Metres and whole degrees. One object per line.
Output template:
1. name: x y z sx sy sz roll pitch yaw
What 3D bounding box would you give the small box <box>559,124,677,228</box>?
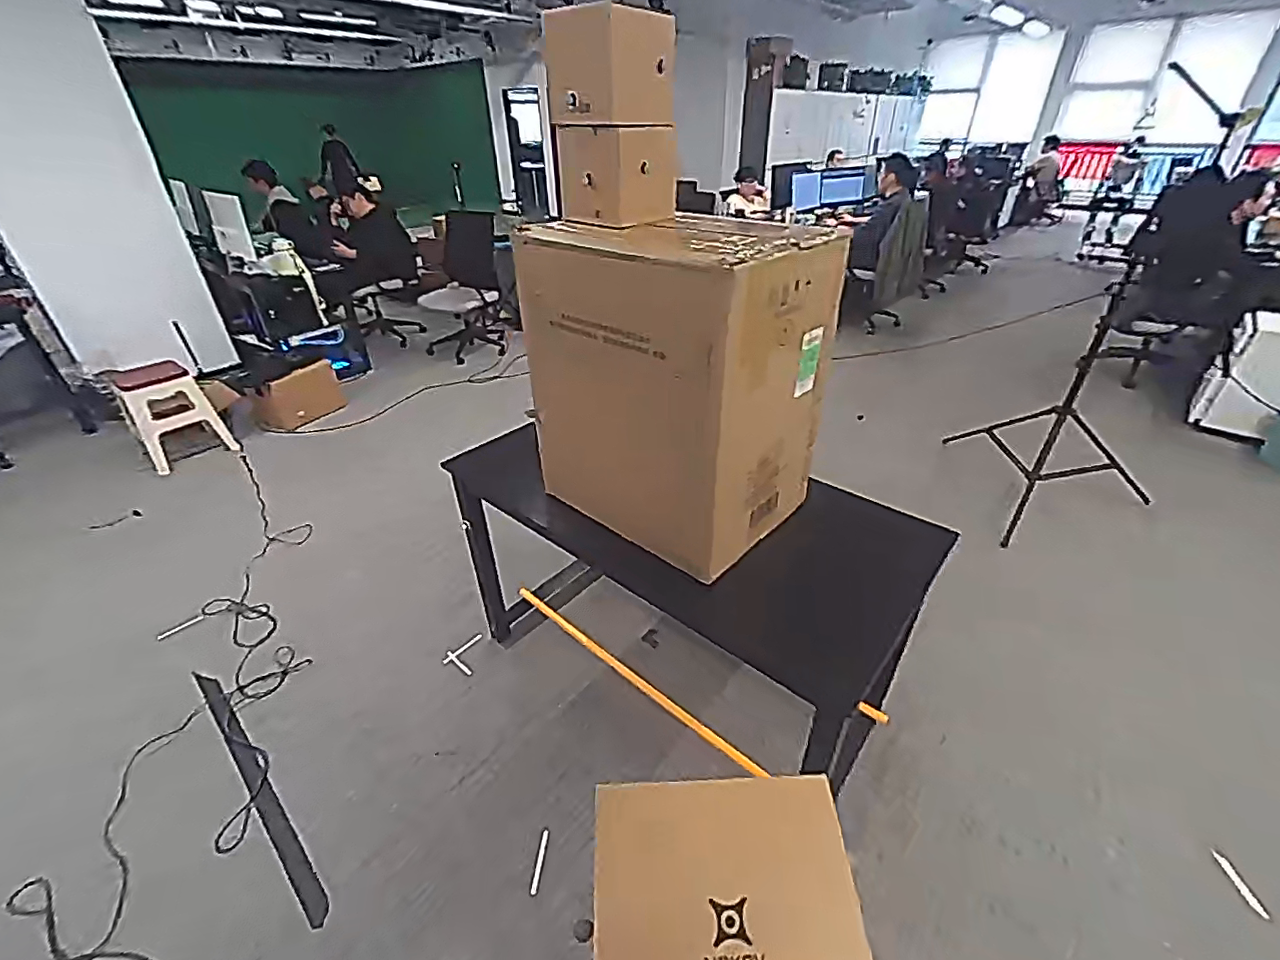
1. small box: -0.039 -0.612 1.087 0.168 0.176 0.179 25 42 33

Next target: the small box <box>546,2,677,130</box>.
1. small box: -0.050 -0.744 0.990 0.168 0.176 0.179 23 40 33
